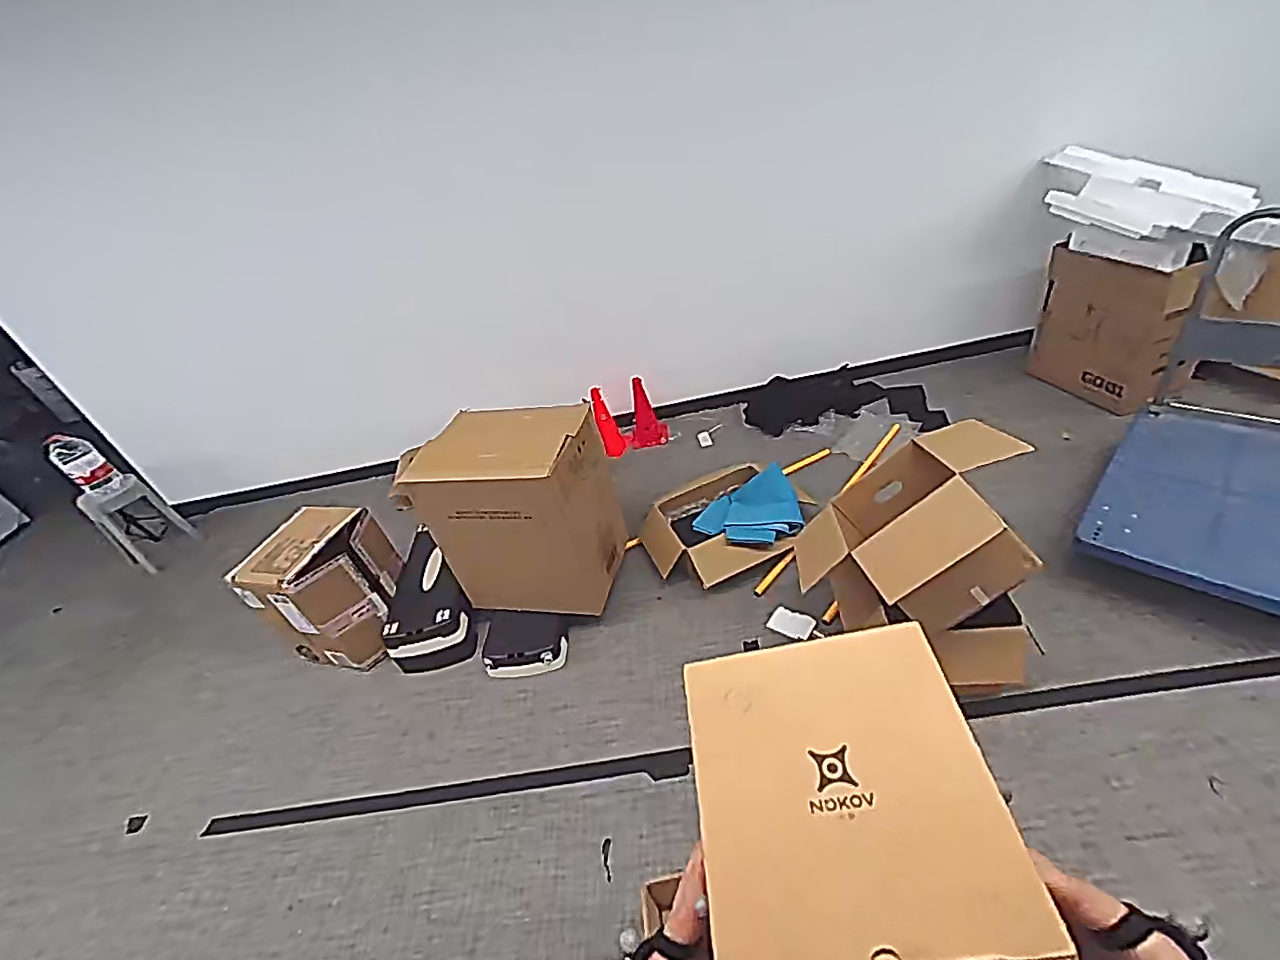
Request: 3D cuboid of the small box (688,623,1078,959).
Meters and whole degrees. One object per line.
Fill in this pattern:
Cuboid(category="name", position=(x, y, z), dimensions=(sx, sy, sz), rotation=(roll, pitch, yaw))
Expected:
Cuboid(category="small box", position=(0.135, 0.228, 0.366), dimensions=(0.168, 0.176, 0.179), rotation=(-14, 42, 9))
